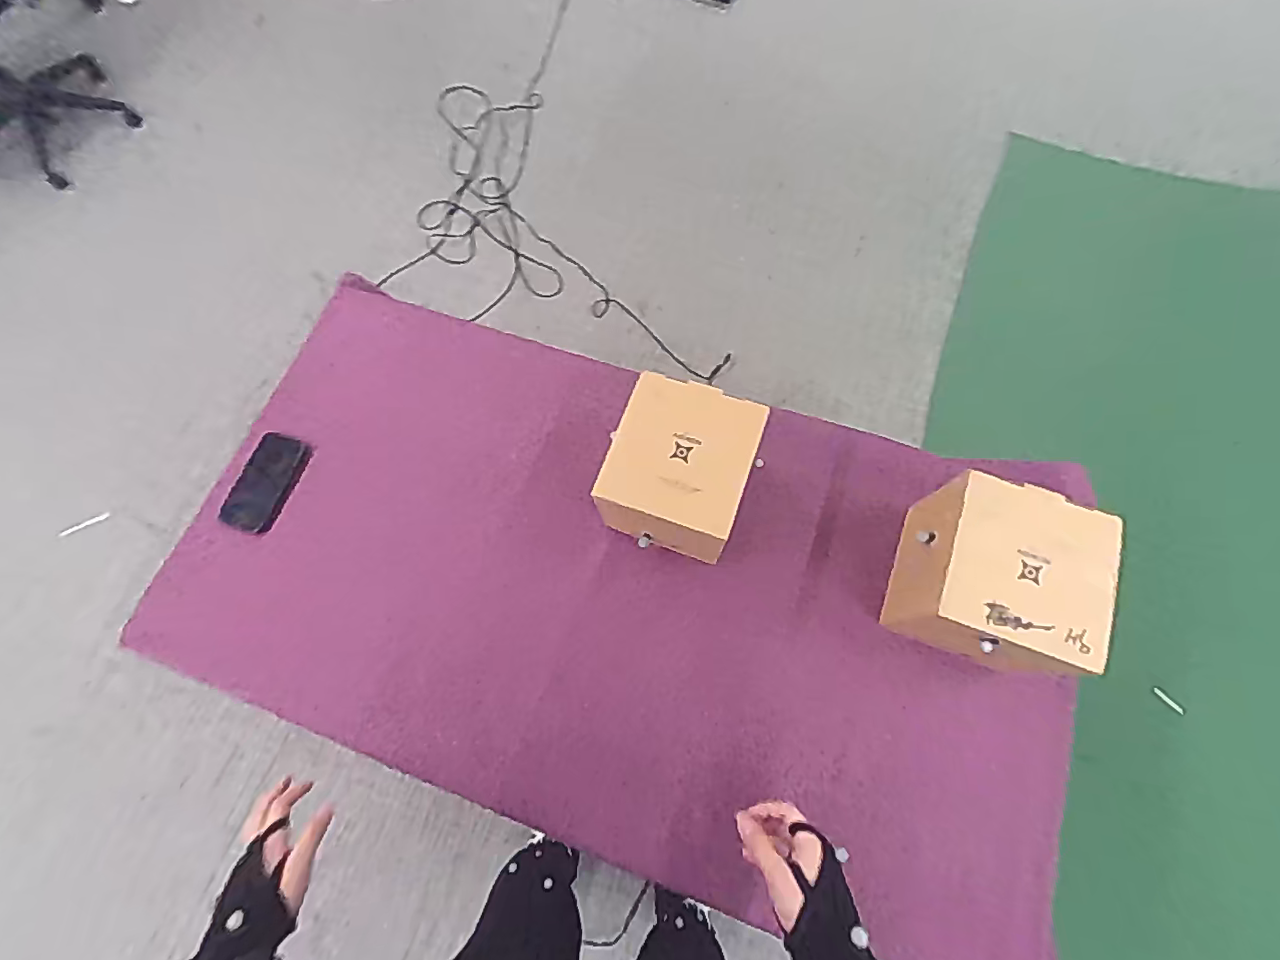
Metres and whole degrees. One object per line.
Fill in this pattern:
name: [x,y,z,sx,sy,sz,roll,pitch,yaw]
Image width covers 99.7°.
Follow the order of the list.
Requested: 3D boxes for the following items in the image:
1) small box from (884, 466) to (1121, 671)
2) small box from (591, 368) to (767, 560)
small box: [0.415,0.112,0.645,0.168,0.176,0.179,19,73,10]
small box: [0.051,-0.013,0.709,0.168,0.176,0.179,19,74,10]
